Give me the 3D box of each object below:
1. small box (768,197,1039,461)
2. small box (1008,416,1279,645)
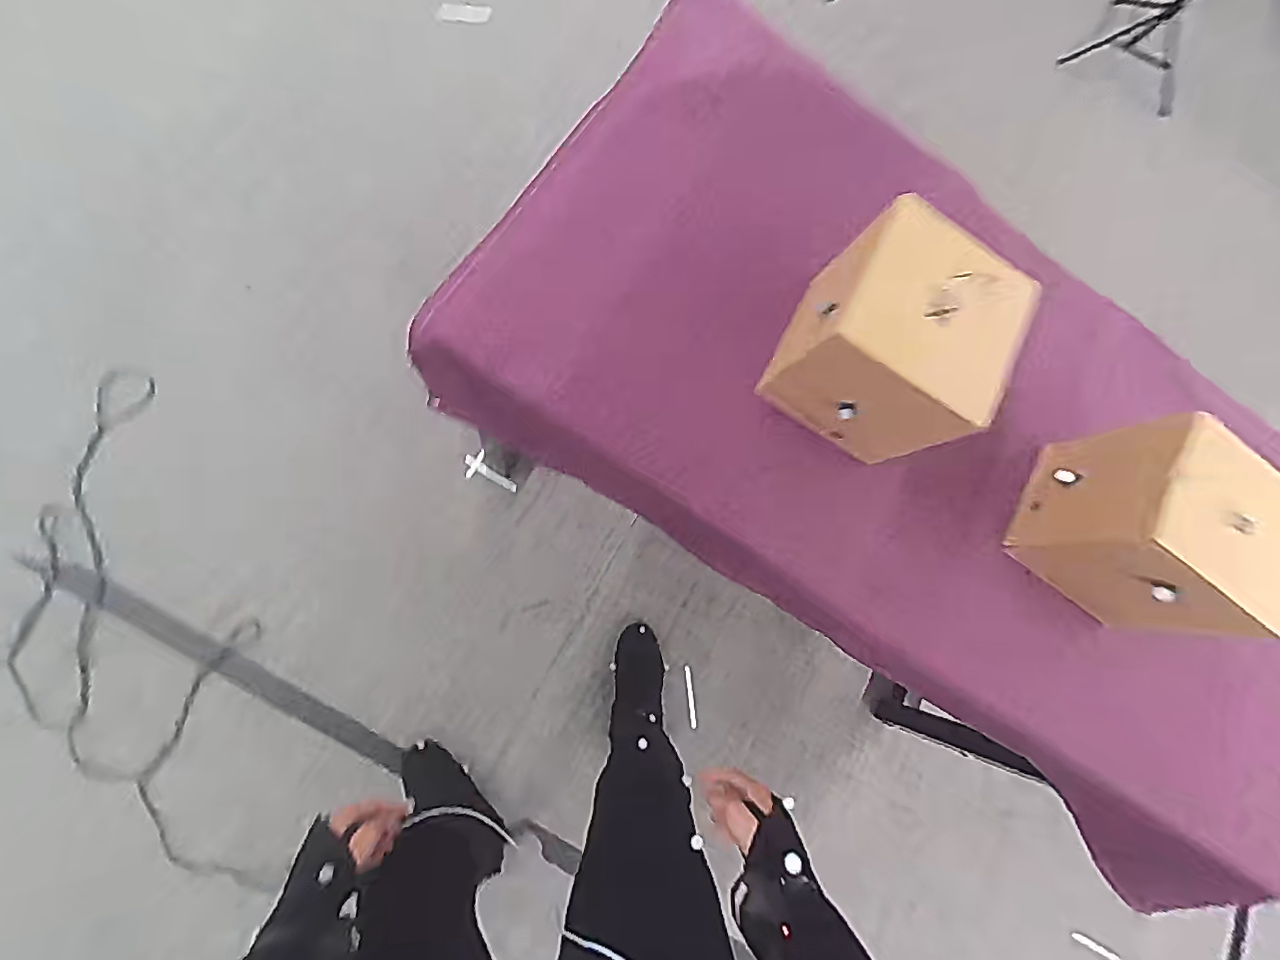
[{"bbox_3d":[0.260,-0.140,0.571,0.168,0.176,0.179,32,75,-6],"label":"small box"},{"bbox_3d":[0.575,0.059,0.610,0.179,0.176,0.168,35,74,-4],"label":"small box"}]
